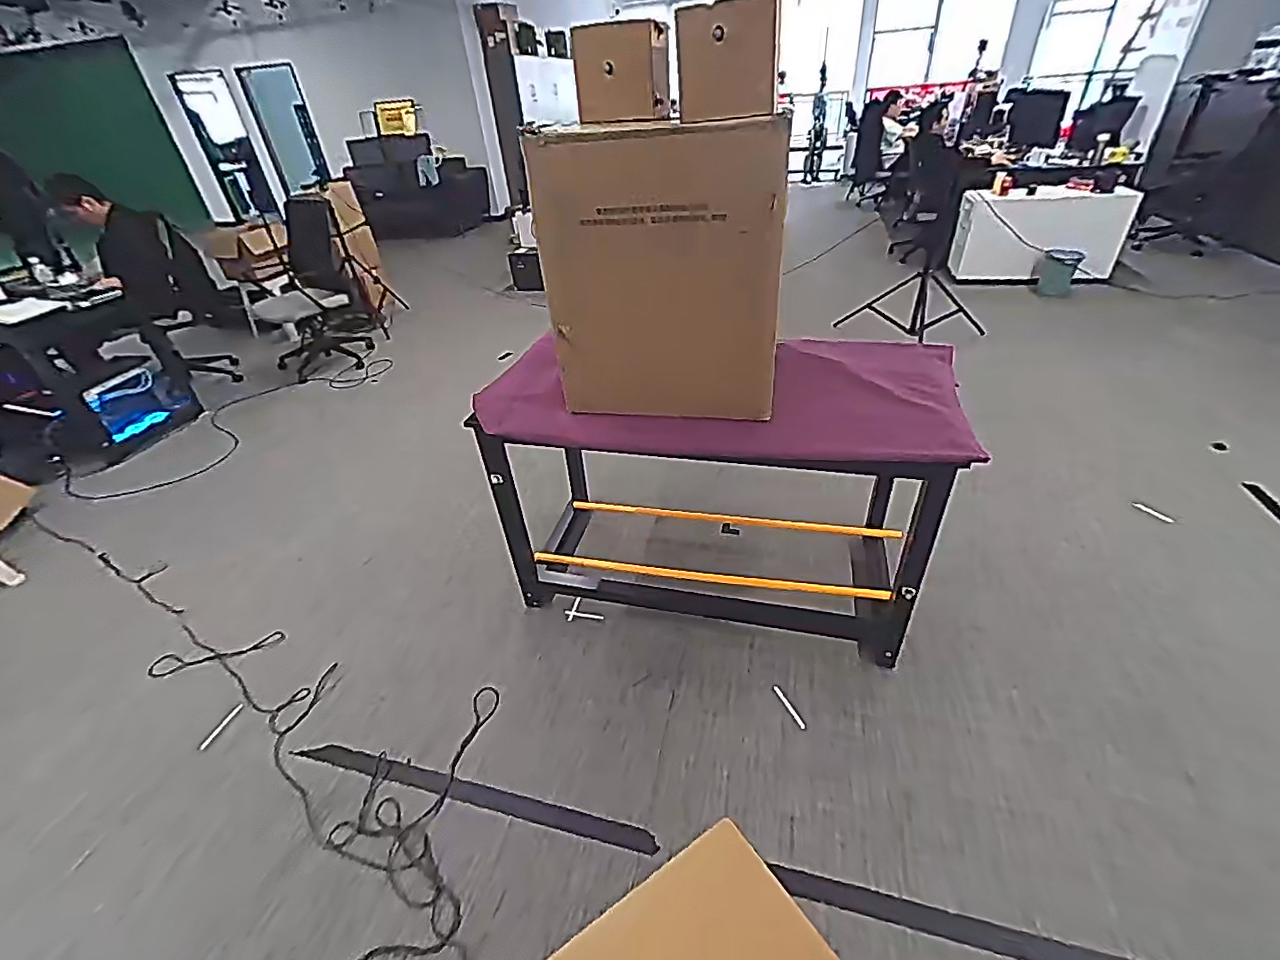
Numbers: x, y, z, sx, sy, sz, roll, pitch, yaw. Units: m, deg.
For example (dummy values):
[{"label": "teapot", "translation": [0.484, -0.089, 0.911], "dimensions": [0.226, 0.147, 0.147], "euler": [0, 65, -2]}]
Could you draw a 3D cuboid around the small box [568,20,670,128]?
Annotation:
[{"label": "small box", "translation": [-0.036, -0.888, 1.191], "dimensions": [0.179, 0.176, 0.168], "euler": [6, 36, 17]}]
